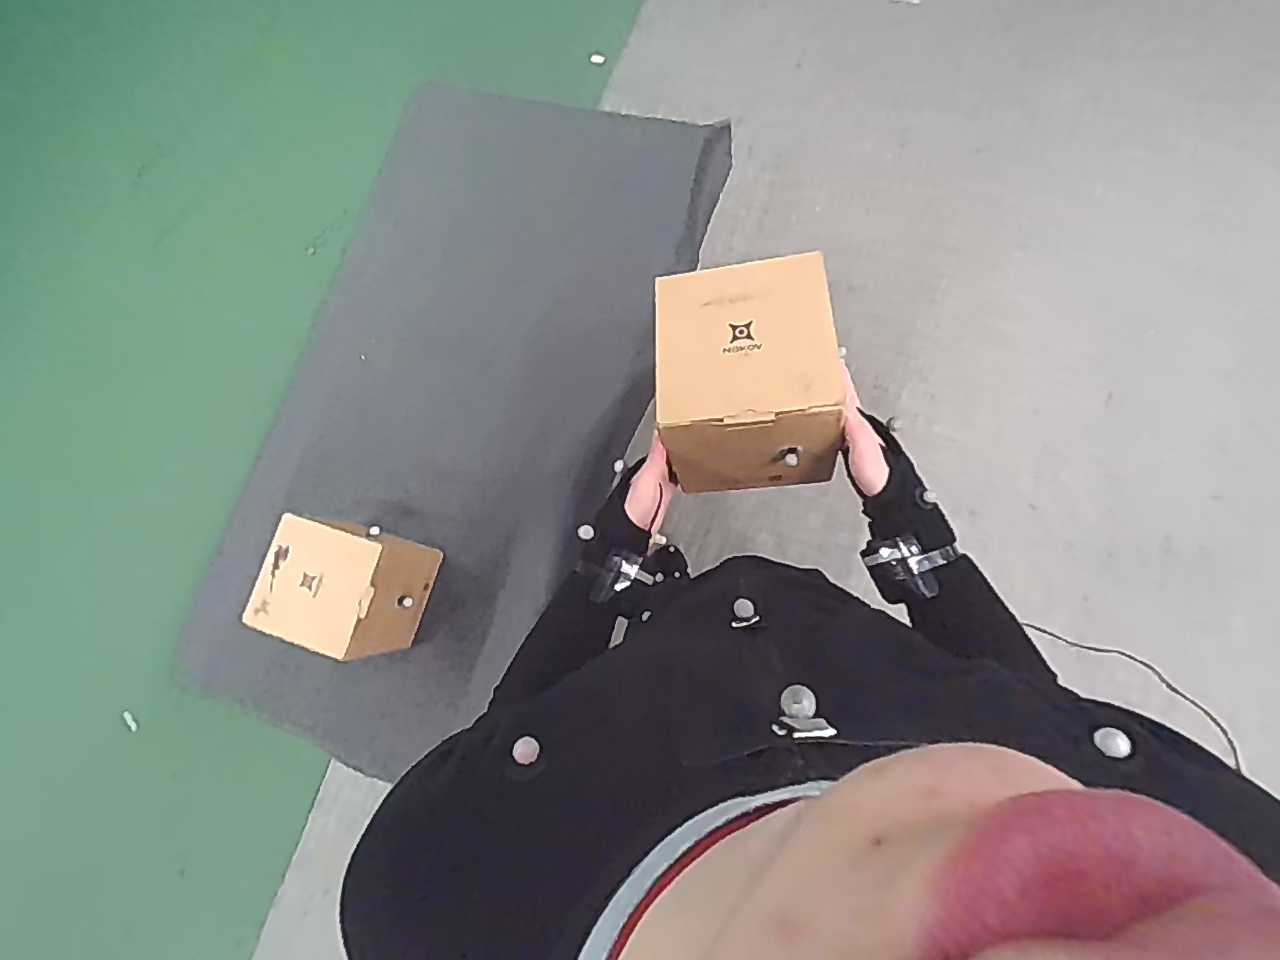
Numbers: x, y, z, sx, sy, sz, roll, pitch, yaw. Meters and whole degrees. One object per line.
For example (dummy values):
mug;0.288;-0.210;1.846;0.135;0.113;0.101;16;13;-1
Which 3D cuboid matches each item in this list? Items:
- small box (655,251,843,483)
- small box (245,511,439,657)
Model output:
small box;0.112;-0.104;0.574;0.168;0.176;0.179;-5;65;11
small box;-0.446;0.156;0.841;0.179;0.176;0.168;16;82;10
